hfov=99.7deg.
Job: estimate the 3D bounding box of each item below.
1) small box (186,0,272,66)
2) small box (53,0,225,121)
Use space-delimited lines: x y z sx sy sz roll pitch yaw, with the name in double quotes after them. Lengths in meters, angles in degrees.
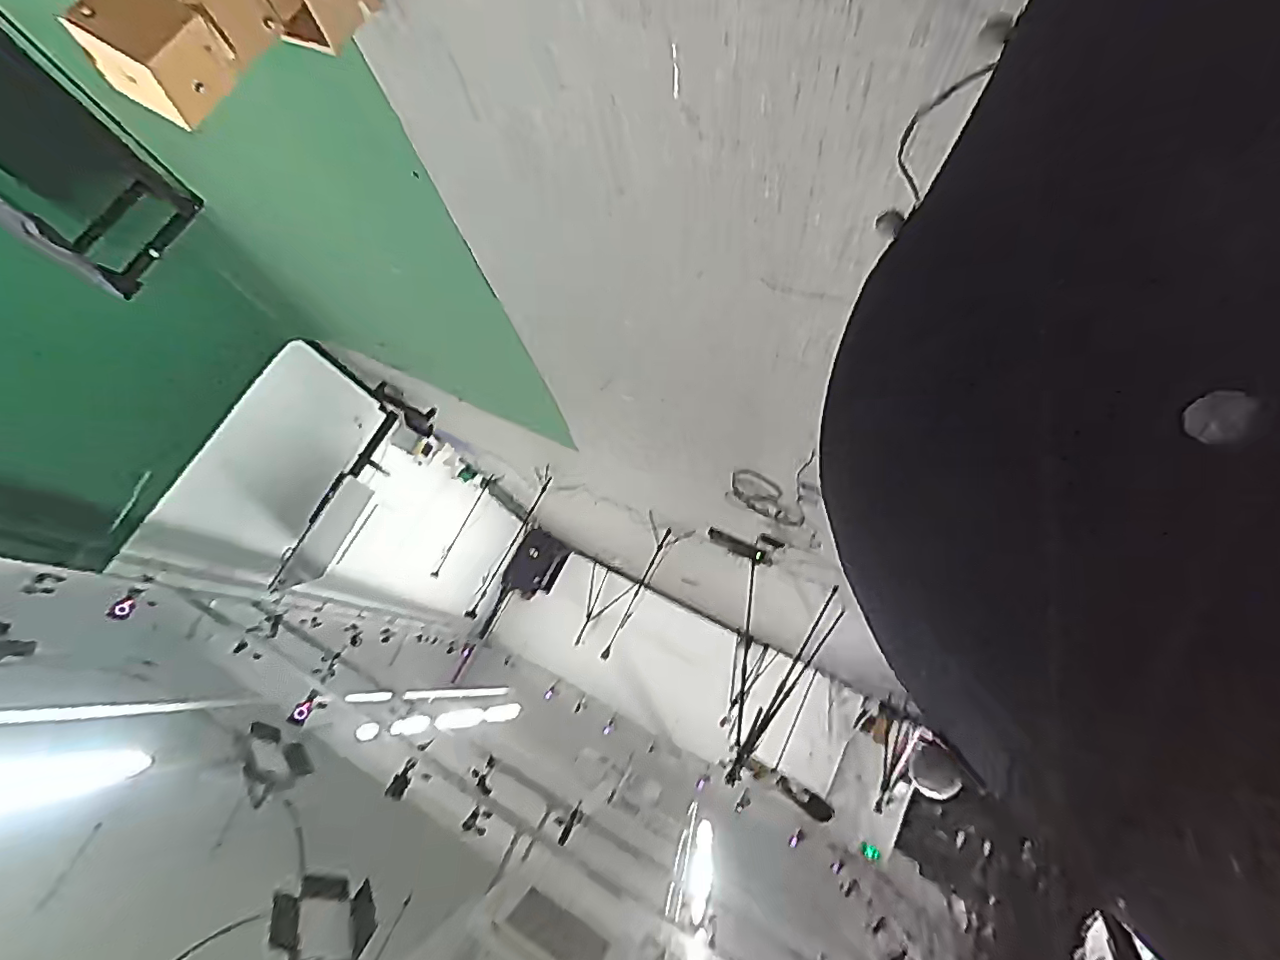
-0.949 -1.054 1.173 0.179 0.176 0.168 25 163 14 "small box"
-1.017 -0.914 1.124 0.179 0.176 0.168 31 163 -7 "small box"
